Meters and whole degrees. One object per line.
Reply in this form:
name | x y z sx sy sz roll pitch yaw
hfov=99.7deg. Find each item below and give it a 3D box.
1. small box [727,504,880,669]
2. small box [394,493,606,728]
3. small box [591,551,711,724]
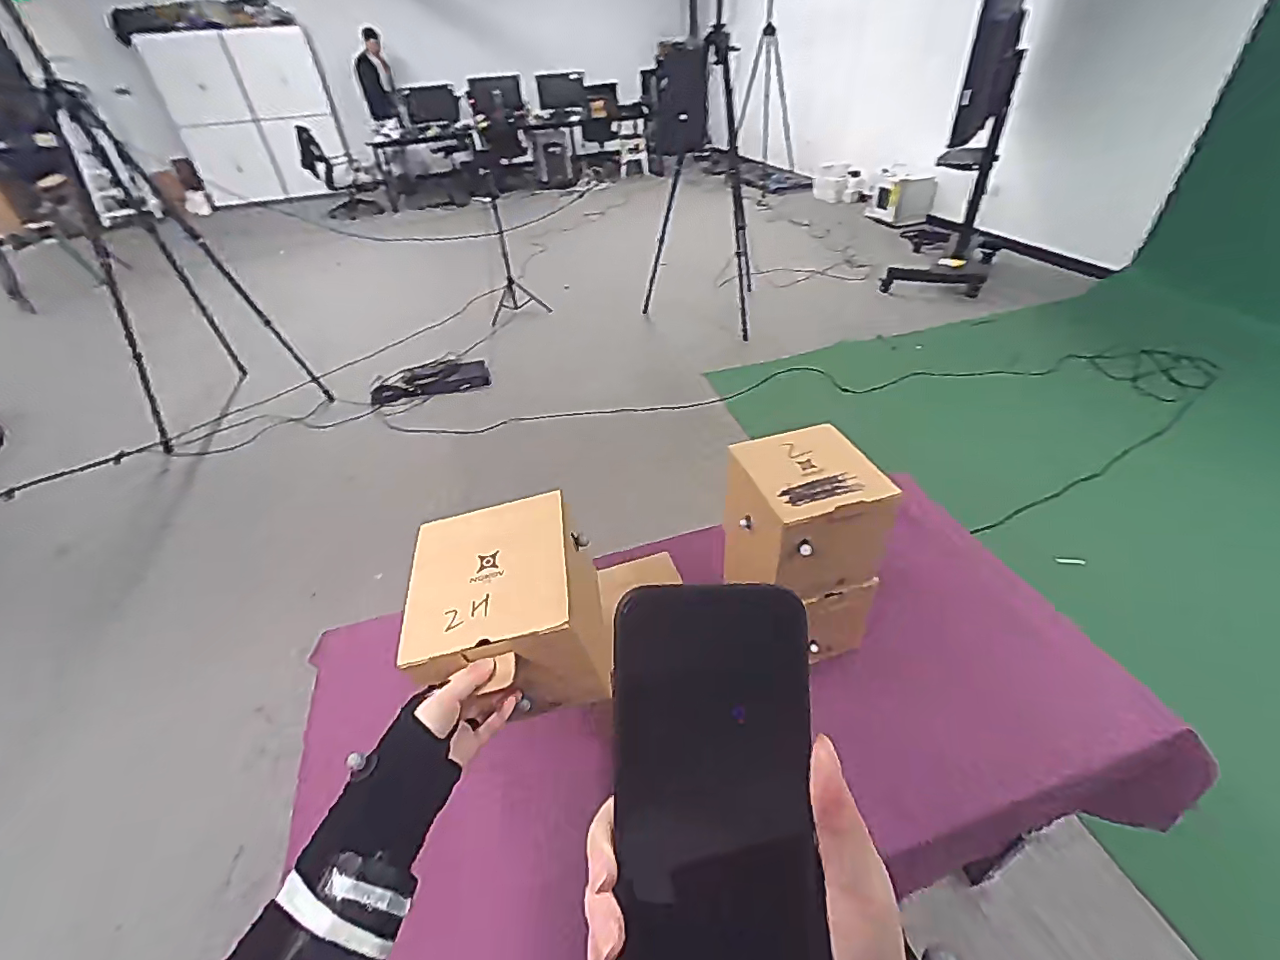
small box | 0.250 0.171 0.879 0.168 0.176 0.179 -15 41 -11
small box | -0.142 0.146 0.603 0.168 0.176 0.179 -14 46 2
small box | 0.001 0.243 0.821 0.168 0.176 0.179 -14 40 -12
